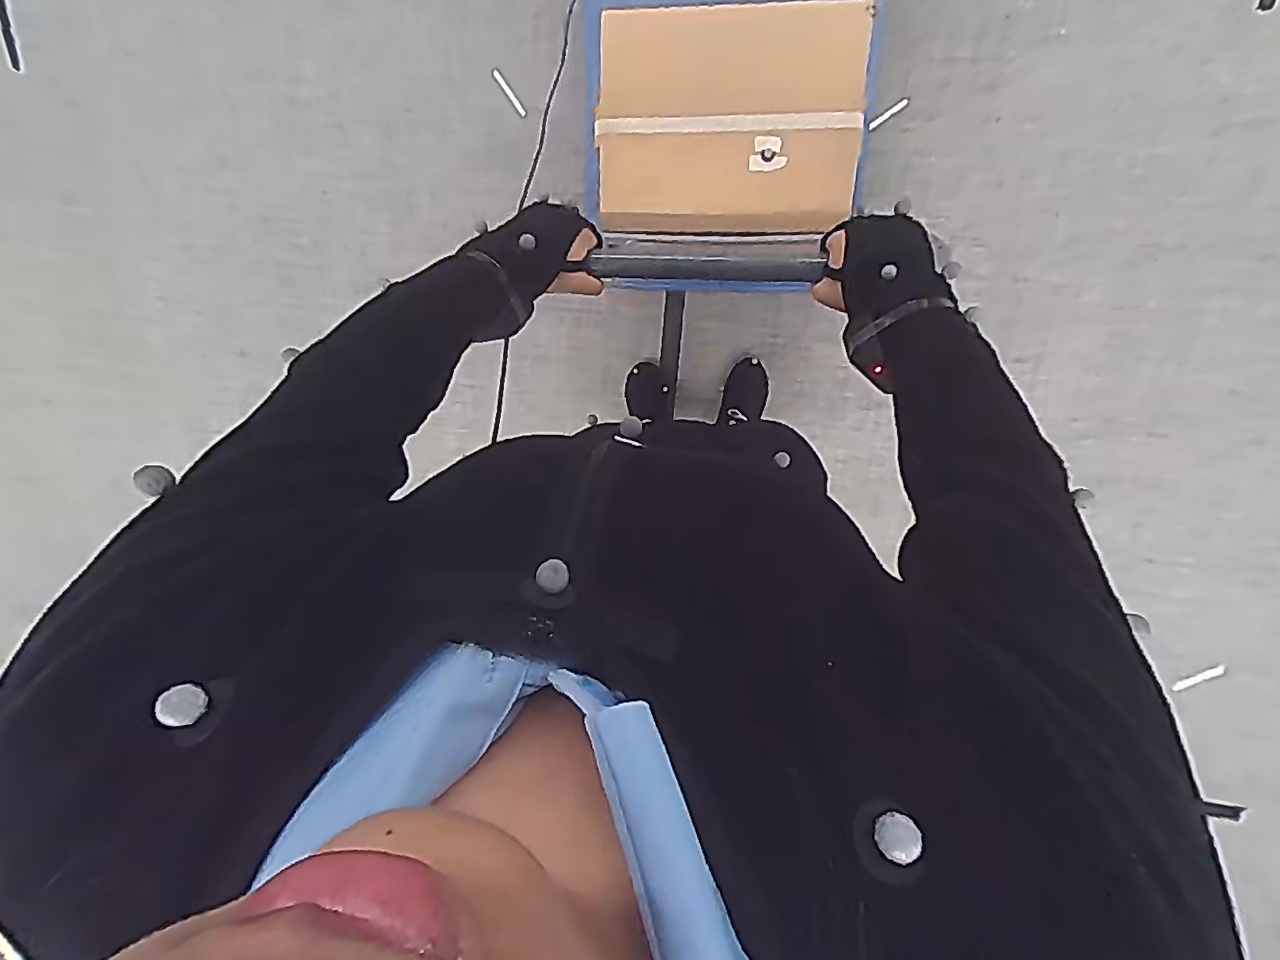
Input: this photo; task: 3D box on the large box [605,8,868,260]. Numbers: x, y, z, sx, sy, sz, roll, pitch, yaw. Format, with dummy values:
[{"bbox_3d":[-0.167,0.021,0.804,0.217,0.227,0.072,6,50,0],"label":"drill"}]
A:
[{"bbox_3d":[0.157,-0.596,1.002,0.408,0.320,0.320,3,106,7],"label":"large box"}]
